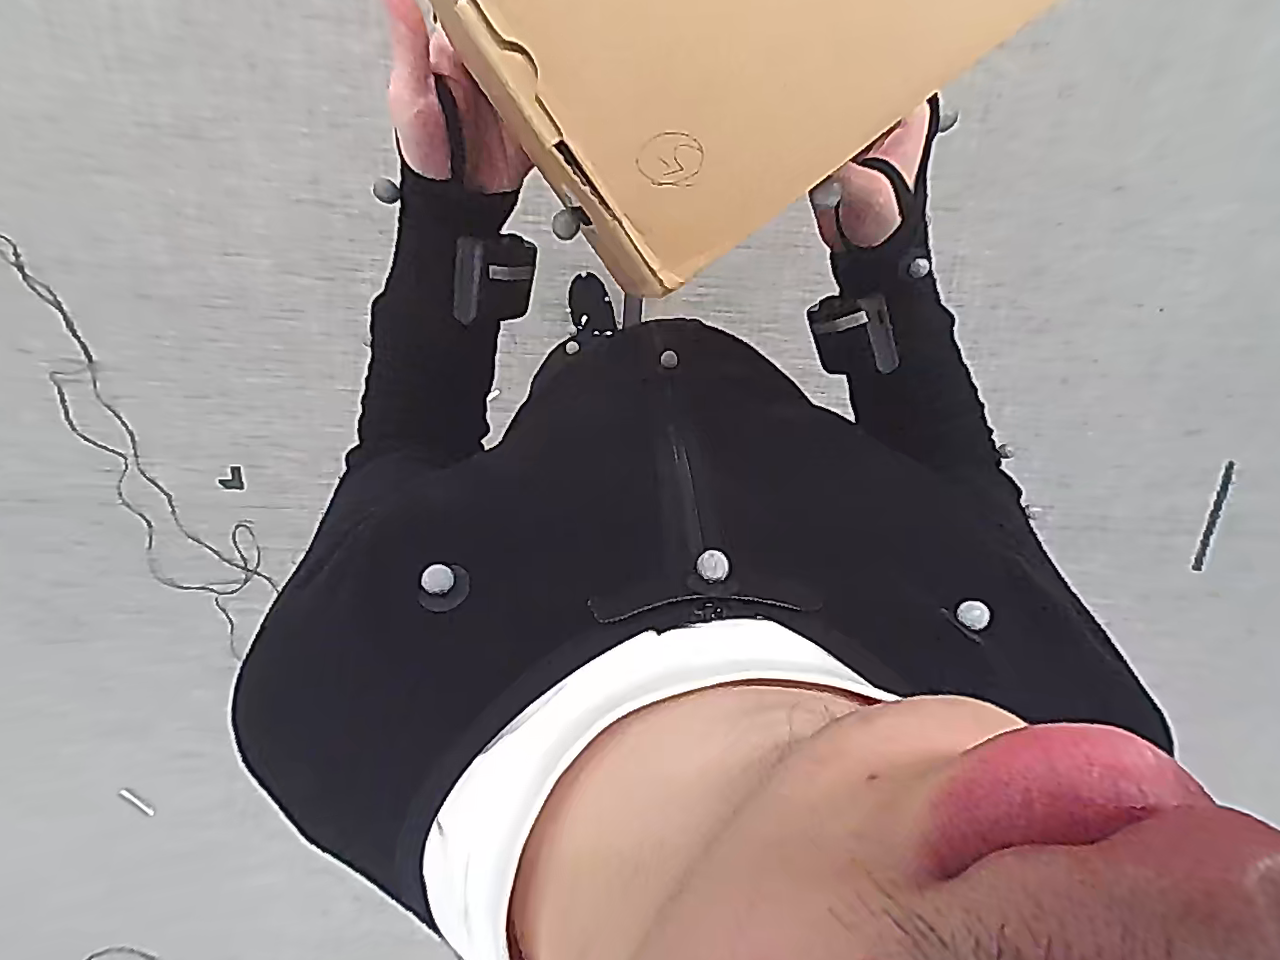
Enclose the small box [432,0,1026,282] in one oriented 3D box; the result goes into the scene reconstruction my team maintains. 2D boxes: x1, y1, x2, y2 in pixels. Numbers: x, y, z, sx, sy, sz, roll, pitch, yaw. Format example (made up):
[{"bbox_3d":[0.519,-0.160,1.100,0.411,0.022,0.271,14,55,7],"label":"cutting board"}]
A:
[{"bbox_3d":[0.018,-0.207,0.241,0.179,0.176,0.168,-37,109,7],"label":"small box"}]
